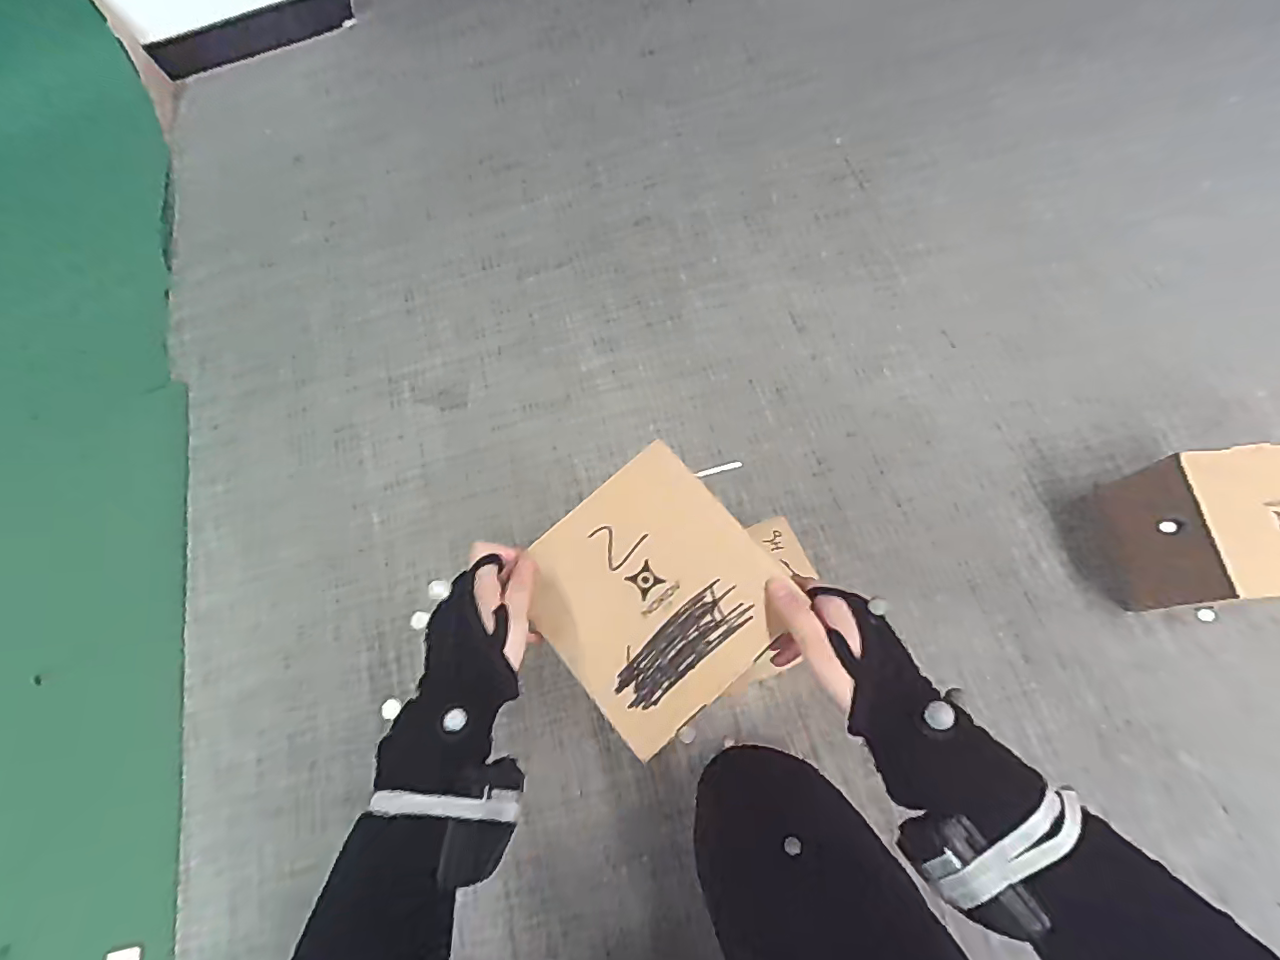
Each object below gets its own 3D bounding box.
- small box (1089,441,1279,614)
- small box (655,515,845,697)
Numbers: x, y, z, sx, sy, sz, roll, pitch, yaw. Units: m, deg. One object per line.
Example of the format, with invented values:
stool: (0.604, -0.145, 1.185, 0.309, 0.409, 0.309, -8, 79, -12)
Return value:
small box: (0.727, 0.067, 0.685, 0.168, 0.176, 0.179, -5, 69, 5)
small box: (0.137, 0.172, 0.713, 0.179, 0.176, 0.168, -24, 69, -2)
